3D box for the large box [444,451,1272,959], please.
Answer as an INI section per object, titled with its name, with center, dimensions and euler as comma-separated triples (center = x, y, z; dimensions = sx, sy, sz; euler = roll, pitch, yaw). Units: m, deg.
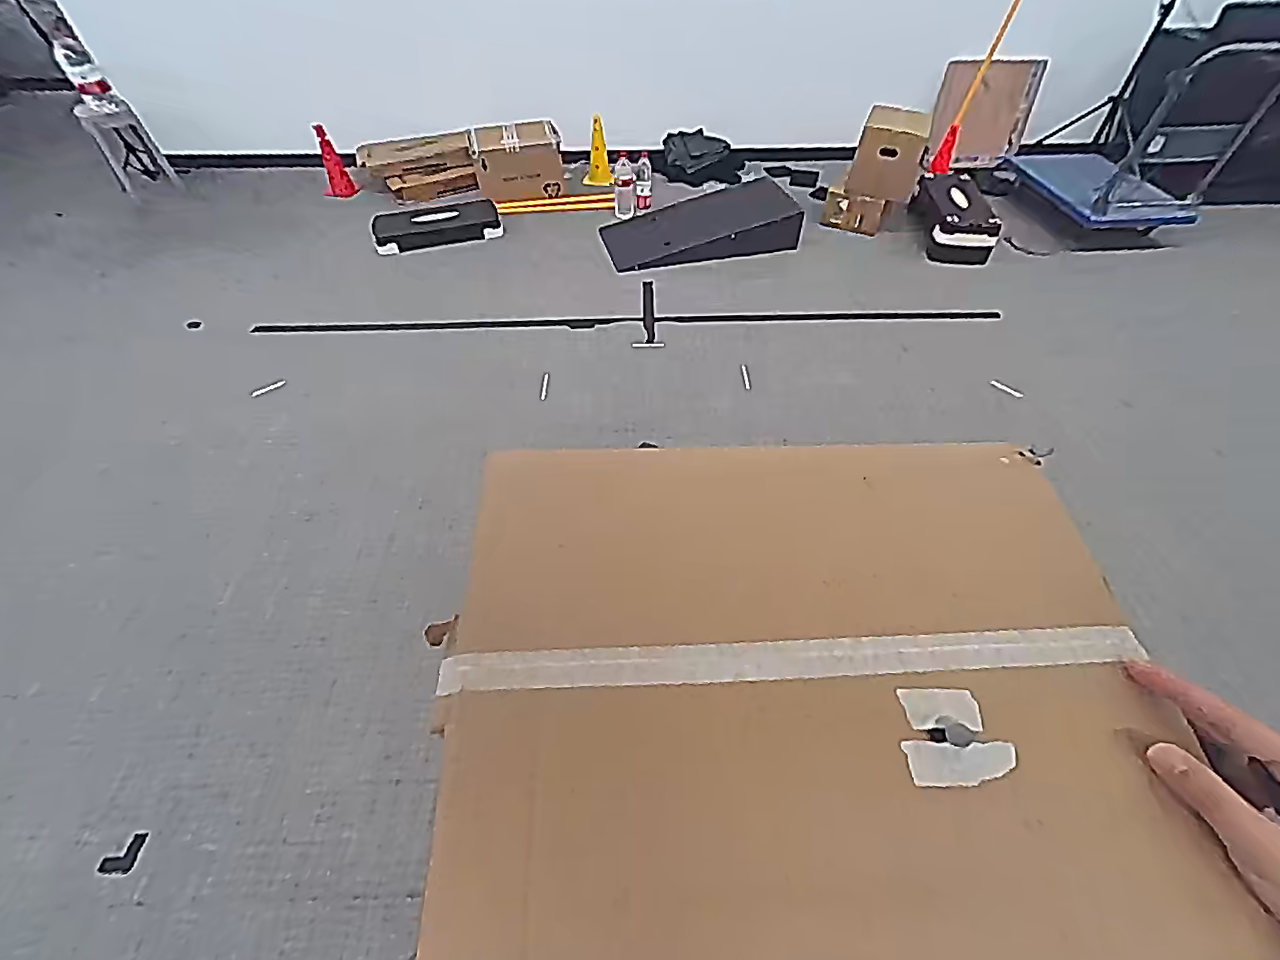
[large box]
center = 0.091, 0.193, 0.450
dimensions = 0.408, 0.320, 0.320
euler = -1, 57, -4
